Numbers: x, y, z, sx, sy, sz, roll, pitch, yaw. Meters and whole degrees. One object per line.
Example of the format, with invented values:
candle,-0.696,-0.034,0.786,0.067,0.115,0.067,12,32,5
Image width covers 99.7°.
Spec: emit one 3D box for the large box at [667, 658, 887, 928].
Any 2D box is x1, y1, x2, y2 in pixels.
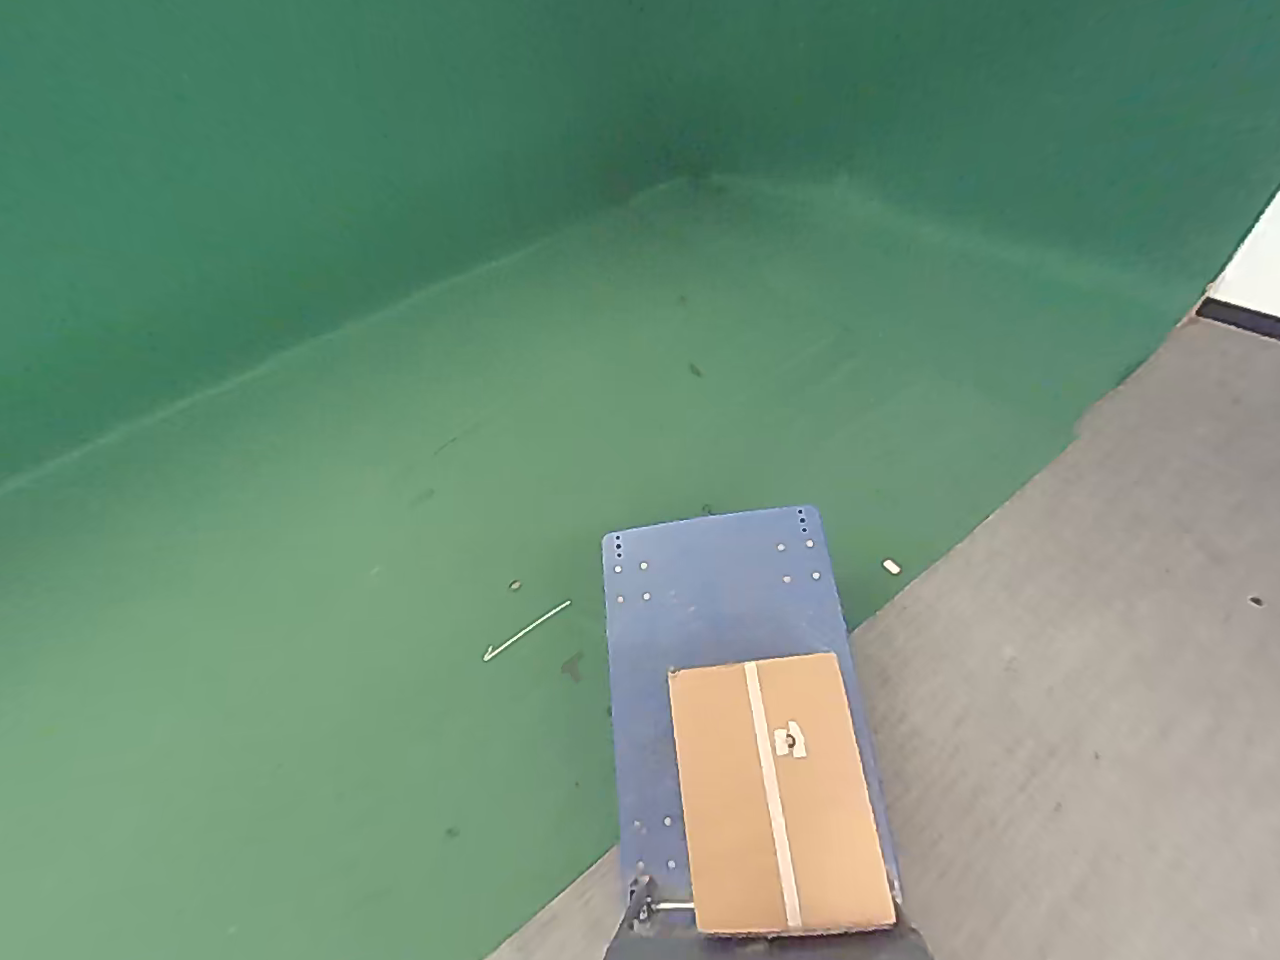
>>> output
large box,0.254,0.590,1.083,0.320,0.320,0.408,-10,68,9
